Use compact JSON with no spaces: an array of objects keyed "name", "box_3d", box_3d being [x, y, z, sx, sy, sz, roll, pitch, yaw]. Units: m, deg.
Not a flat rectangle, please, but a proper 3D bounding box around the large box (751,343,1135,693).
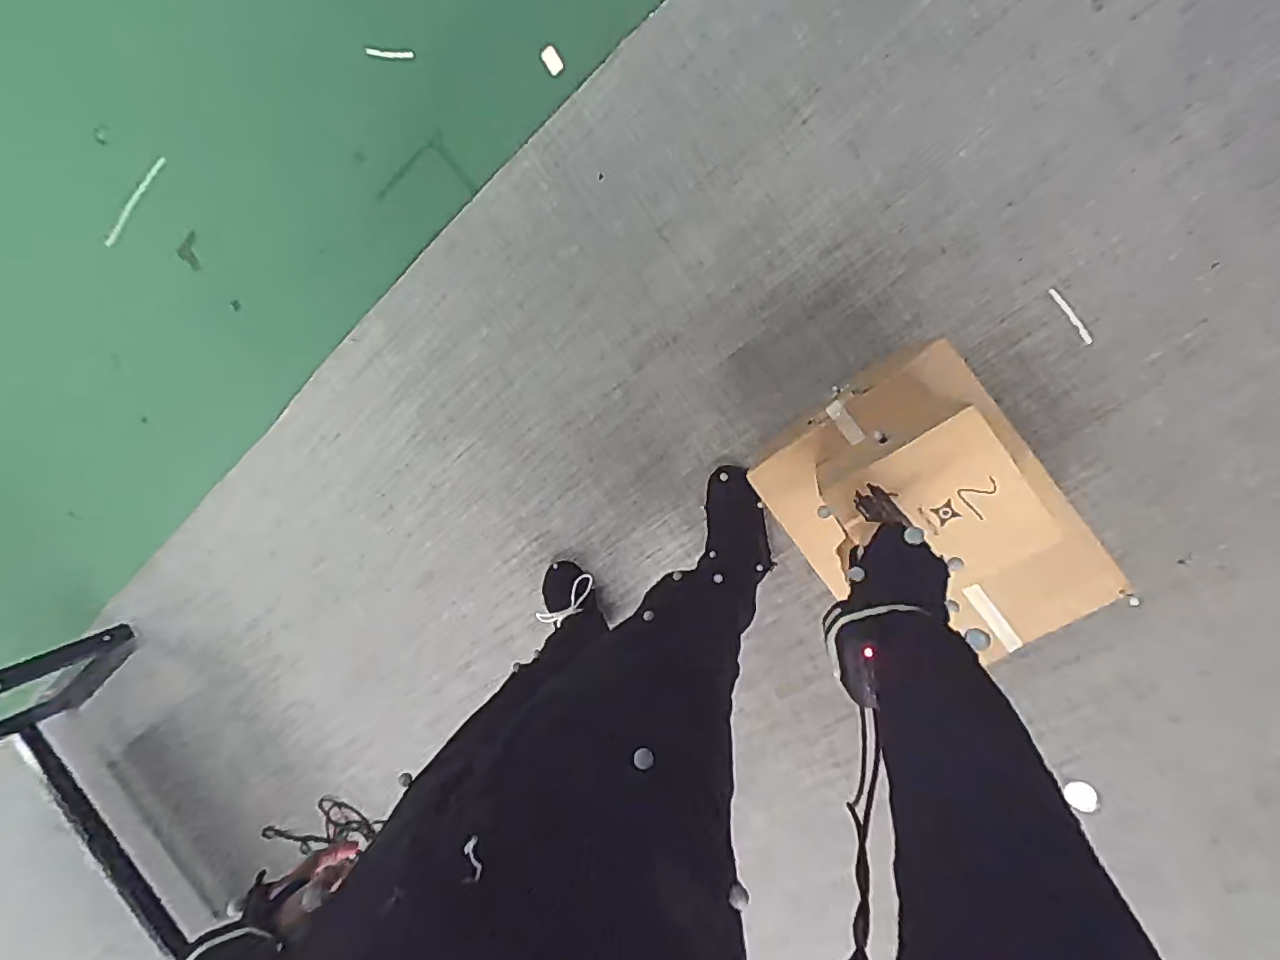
[{"name":"large box","box_3d":[0.428,0.036,0.870,0.320,0.320,0.408,-37,90,20]}]
